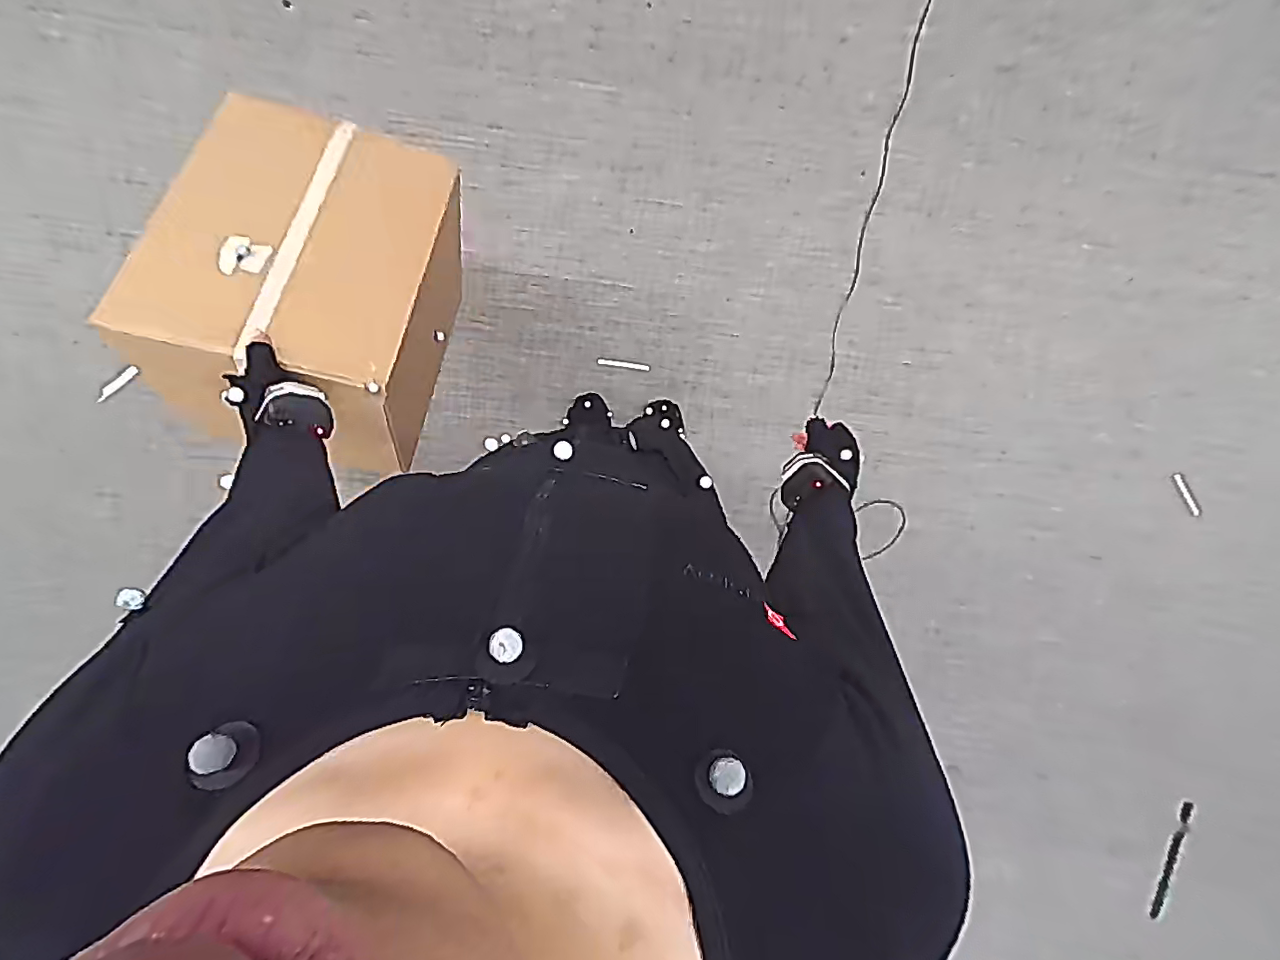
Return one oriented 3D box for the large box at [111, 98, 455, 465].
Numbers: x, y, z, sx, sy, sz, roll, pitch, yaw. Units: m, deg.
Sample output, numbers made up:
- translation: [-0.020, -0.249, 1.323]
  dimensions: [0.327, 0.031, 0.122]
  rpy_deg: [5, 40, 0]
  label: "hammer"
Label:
- translation: [-0.493, -0.282, 0.862]
  dimensions: [0.320, 0.320, 0.408]
  rpy_deg: [11, 69, -12]
  label: "large box"
